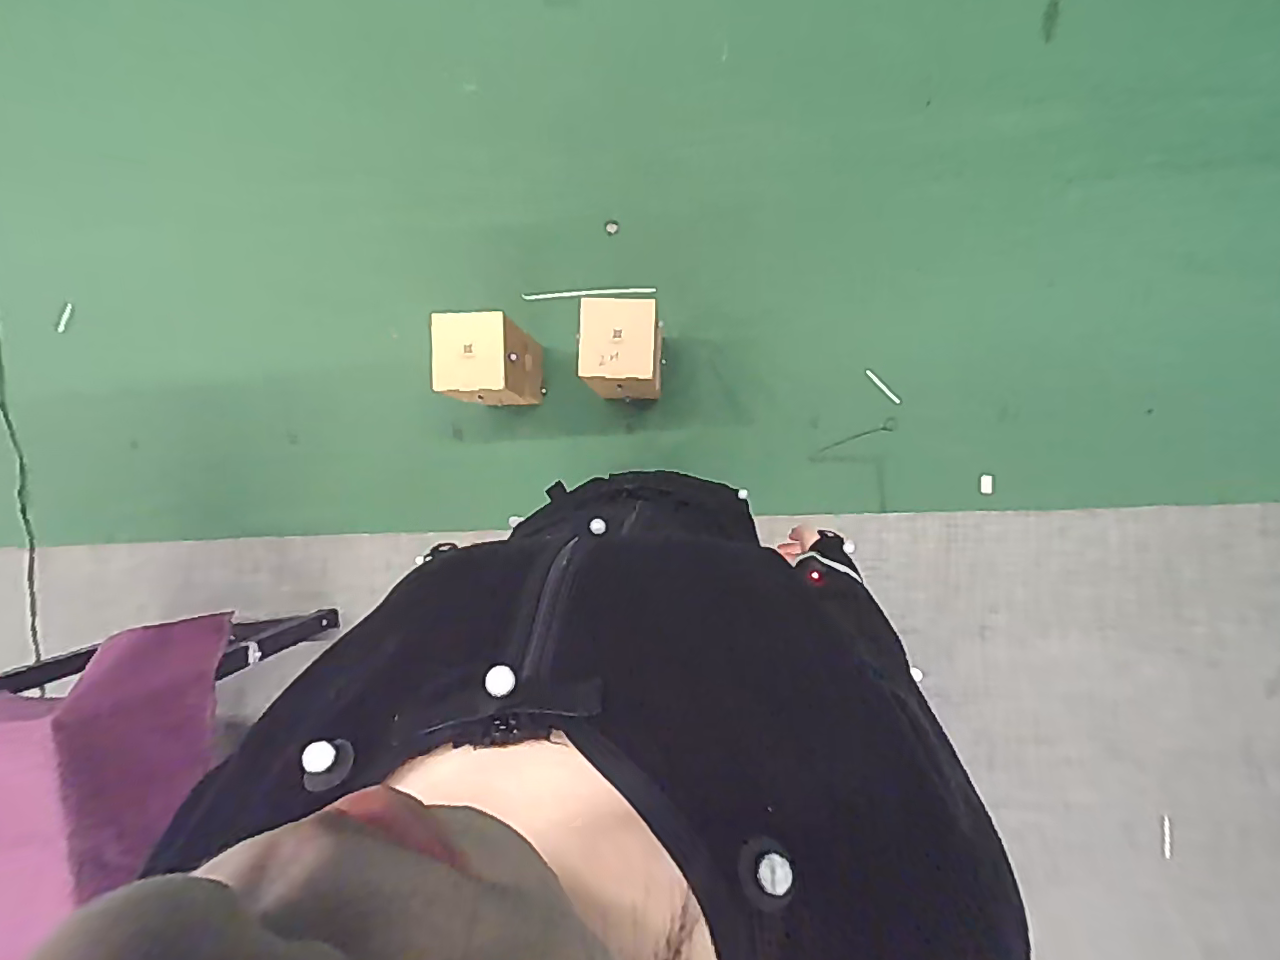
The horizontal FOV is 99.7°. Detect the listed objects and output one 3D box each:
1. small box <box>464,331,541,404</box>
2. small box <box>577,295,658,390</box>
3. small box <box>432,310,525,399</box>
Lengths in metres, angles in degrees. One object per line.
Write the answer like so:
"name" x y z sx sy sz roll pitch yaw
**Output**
"small box" -0.366 -0.296 1.445 0.179 0.176 0.168 -1 91 5
"small box" -0.046 -0.313 1.256 0.168 0.176 0.179 3 92 4
"small box" -0.377 -0.291 1.283 0.168 0.176 0.179 0 91 5
